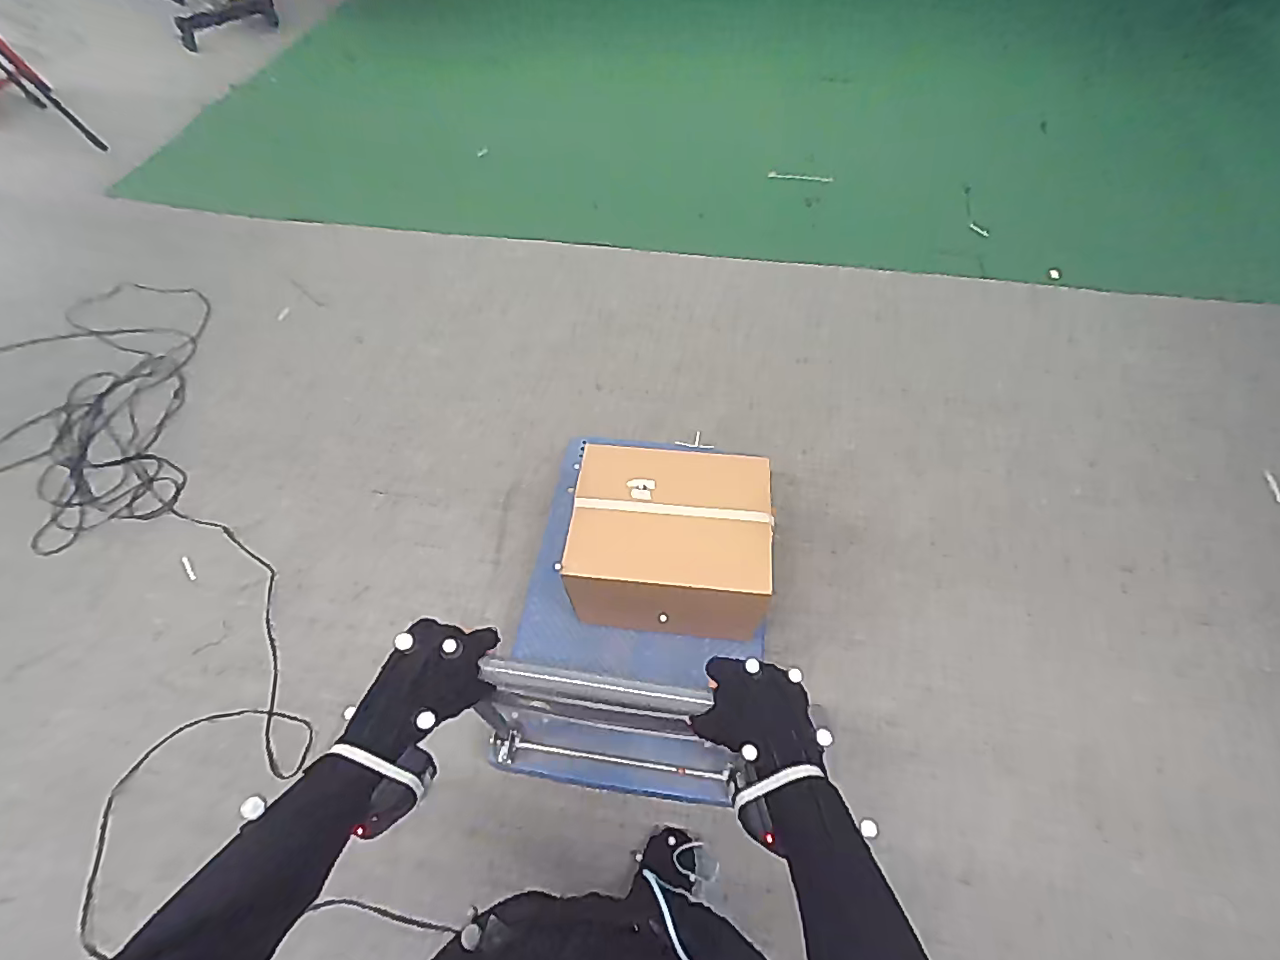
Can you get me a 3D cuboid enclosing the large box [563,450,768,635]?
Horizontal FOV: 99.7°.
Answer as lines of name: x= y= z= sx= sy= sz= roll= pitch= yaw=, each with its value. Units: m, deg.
large box: x=0.068 y=0.150 z=1.239 sx=0.408 sy=0.320 sz=0.320 roll=4 pitch=57 yaw=6
